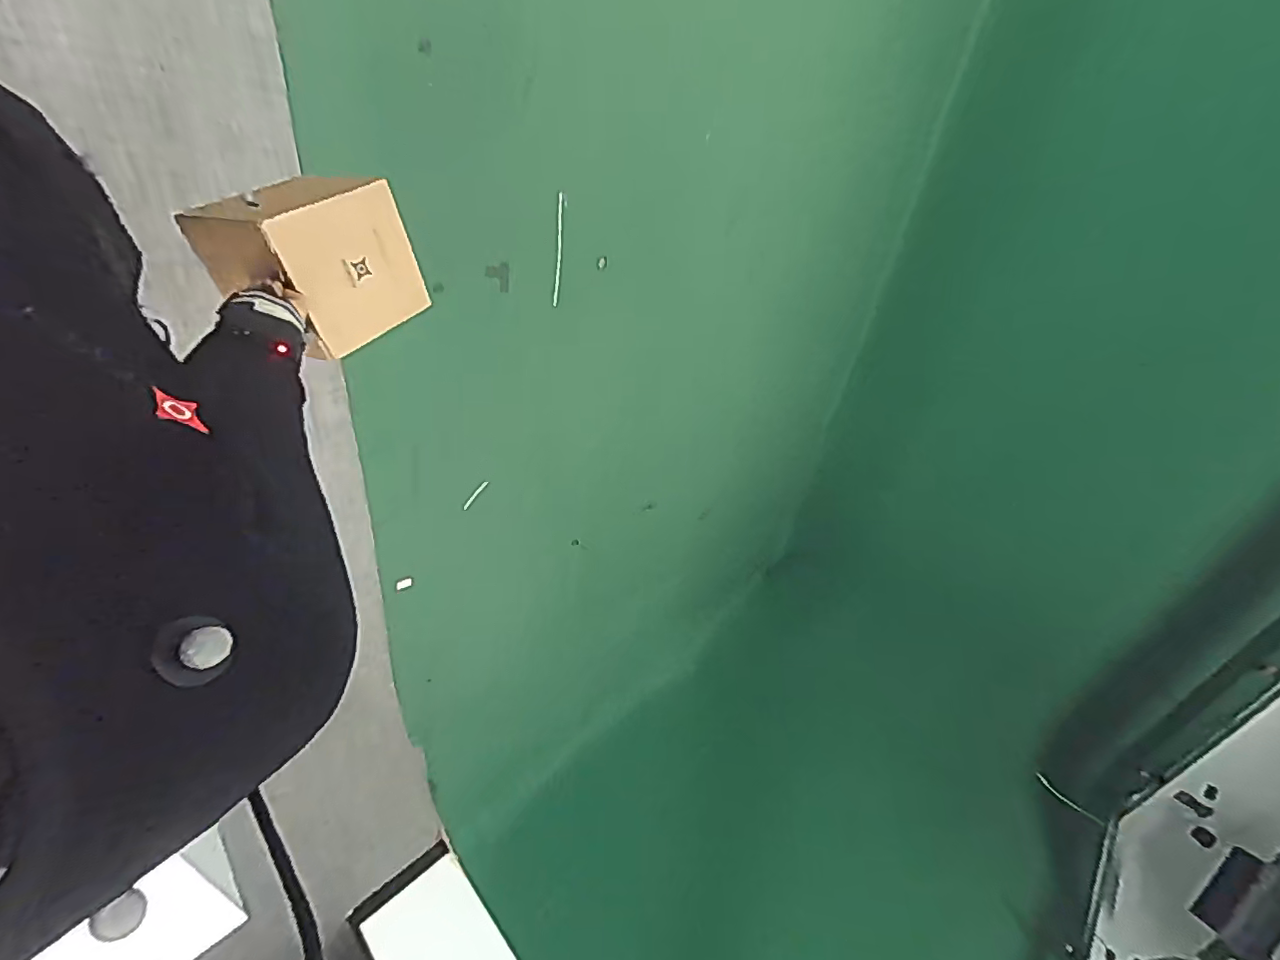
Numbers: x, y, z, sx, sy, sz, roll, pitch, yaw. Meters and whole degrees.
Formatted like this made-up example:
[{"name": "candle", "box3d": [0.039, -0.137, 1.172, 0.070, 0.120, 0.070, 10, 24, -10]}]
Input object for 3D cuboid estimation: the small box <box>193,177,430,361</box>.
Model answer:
[{"name": "small box", "box3d": [-0.416, -0.274, 0.691, 0.179, 0.176, 0.168, -56, 151, -39]}]
